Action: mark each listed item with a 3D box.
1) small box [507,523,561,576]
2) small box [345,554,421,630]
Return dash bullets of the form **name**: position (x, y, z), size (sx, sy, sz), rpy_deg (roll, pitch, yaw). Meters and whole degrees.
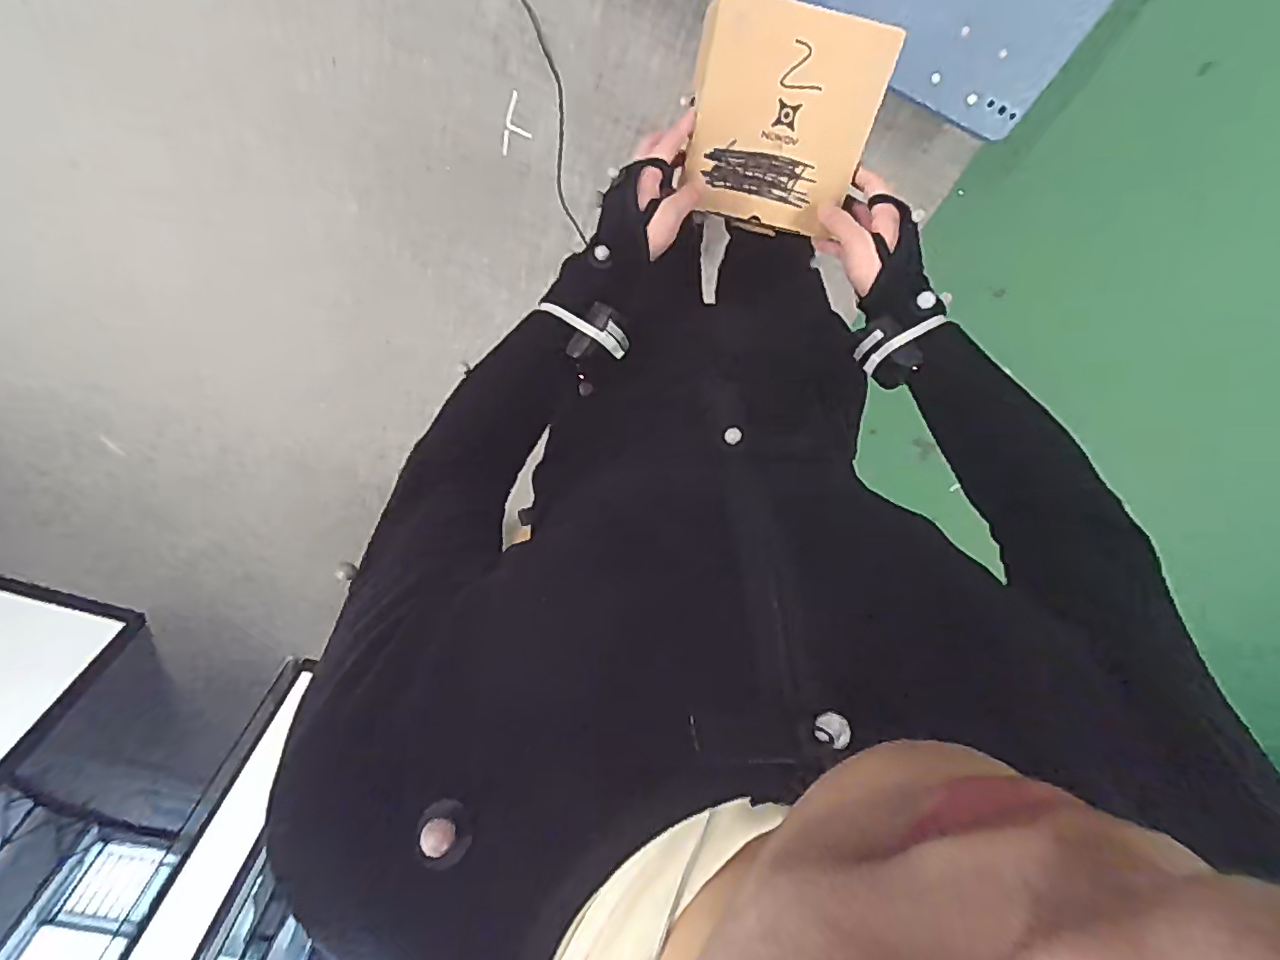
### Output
- **small box**: position (-0.429, 0.305, 2.187), size (0.168, 0.176, 0.179), rpy_deg (24, 131, -12)
- **small box**: position (-0.879, 0.381, 1.858), size (0.179, 0.176, 0.168), rpy_deg (25, 130, -14)
